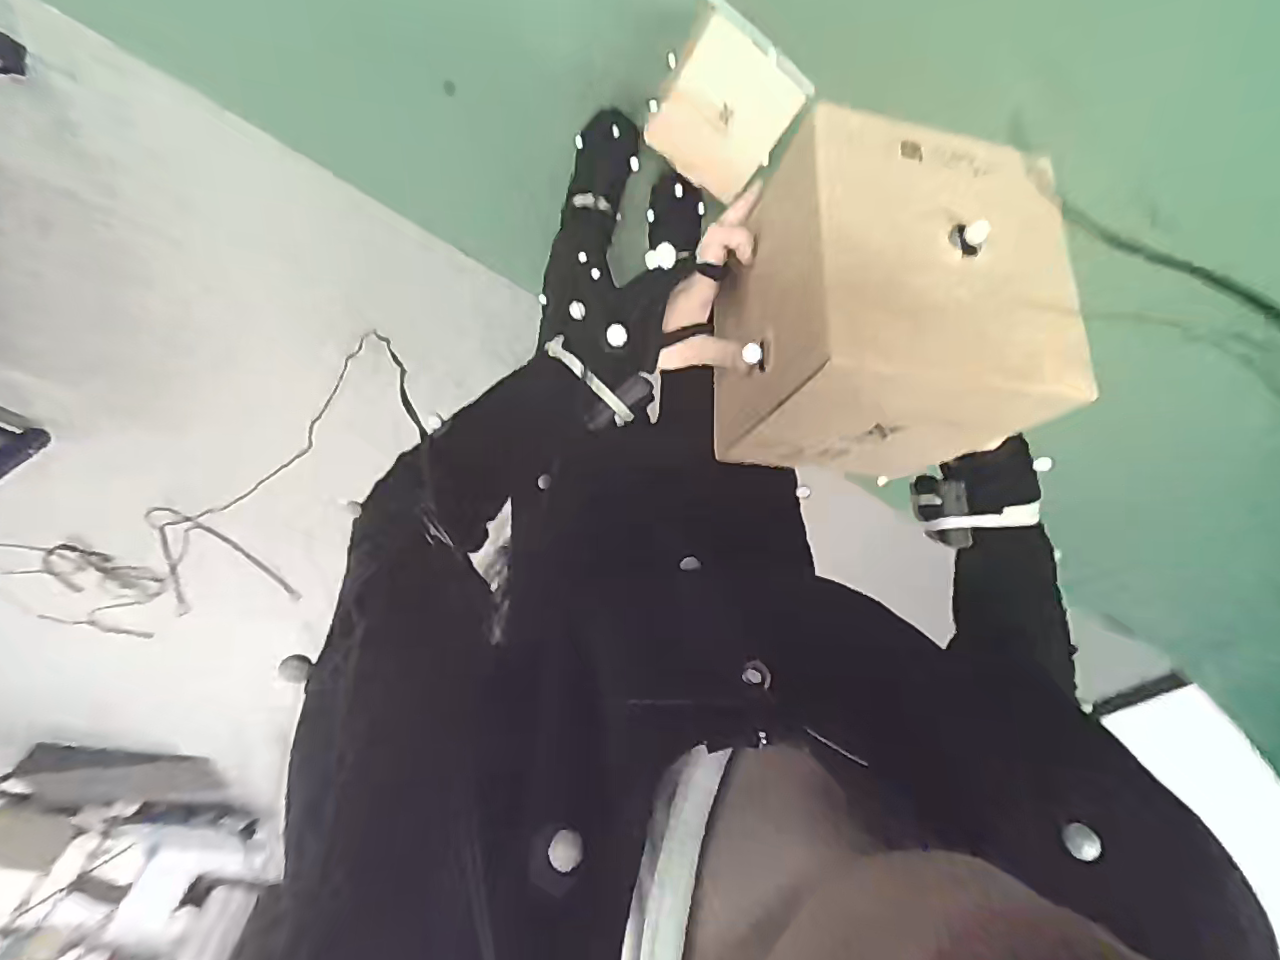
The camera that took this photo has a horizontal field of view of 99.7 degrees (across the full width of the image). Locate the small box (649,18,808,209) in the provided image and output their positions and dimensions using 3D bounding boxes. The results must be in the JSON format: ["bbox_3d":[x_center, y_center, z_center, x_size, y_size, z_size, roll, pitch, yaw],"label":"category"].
[{"bbox_3d":[0.125,-0.567,0.839,0.168,0.176,0.179,28,126,-19],"label":"small box"}]
